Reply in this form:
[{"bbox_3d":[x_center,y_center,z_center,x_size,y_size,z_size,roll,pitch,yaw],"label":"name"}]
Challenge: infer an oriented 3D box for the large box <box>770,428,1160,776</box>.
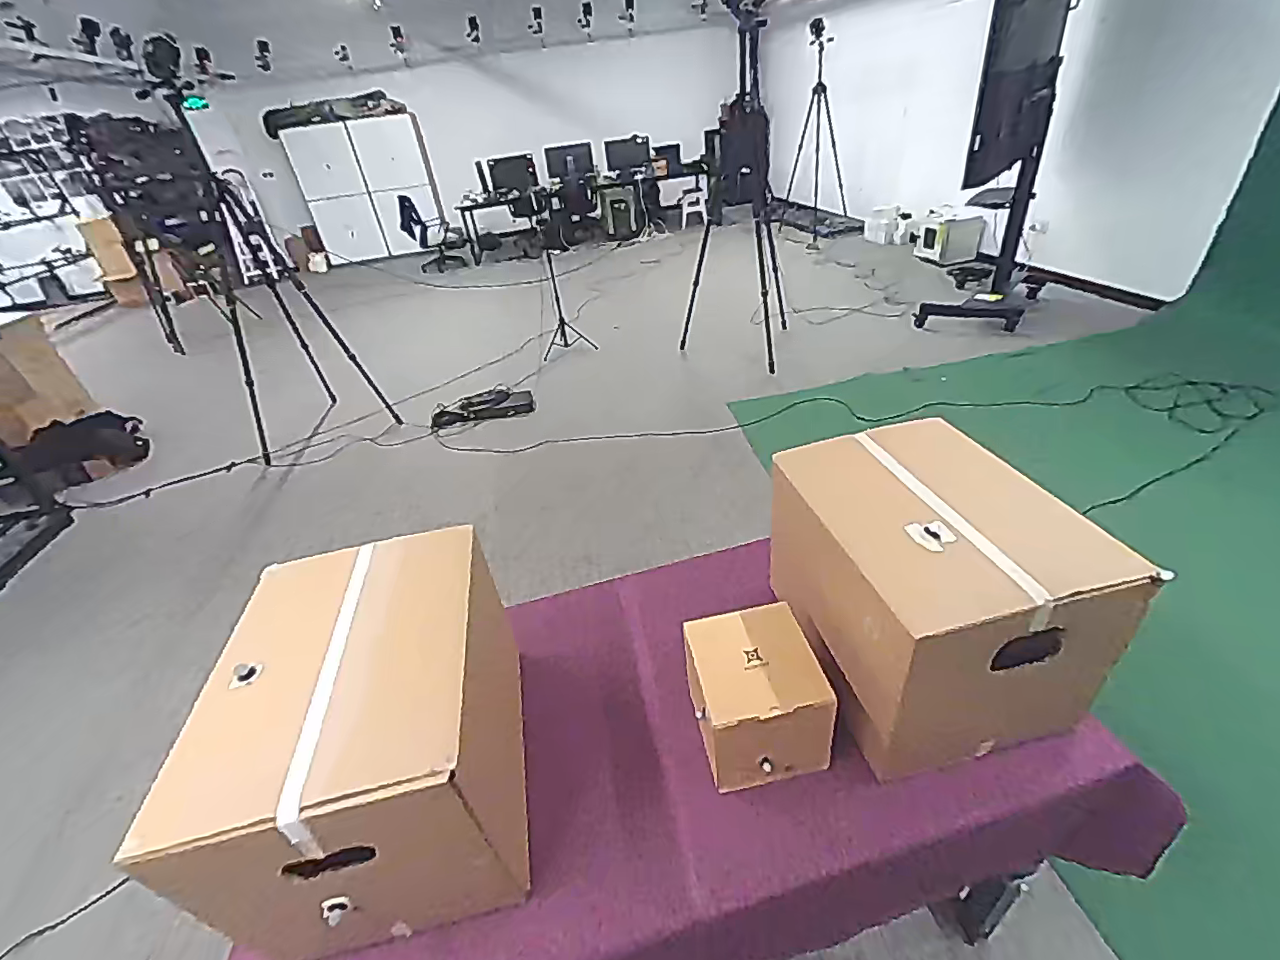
[{"bbox_3d":[0.431,0.164,0.854,0.320,0.320,0.408,-12,35,-5],"label":"large box"}]
